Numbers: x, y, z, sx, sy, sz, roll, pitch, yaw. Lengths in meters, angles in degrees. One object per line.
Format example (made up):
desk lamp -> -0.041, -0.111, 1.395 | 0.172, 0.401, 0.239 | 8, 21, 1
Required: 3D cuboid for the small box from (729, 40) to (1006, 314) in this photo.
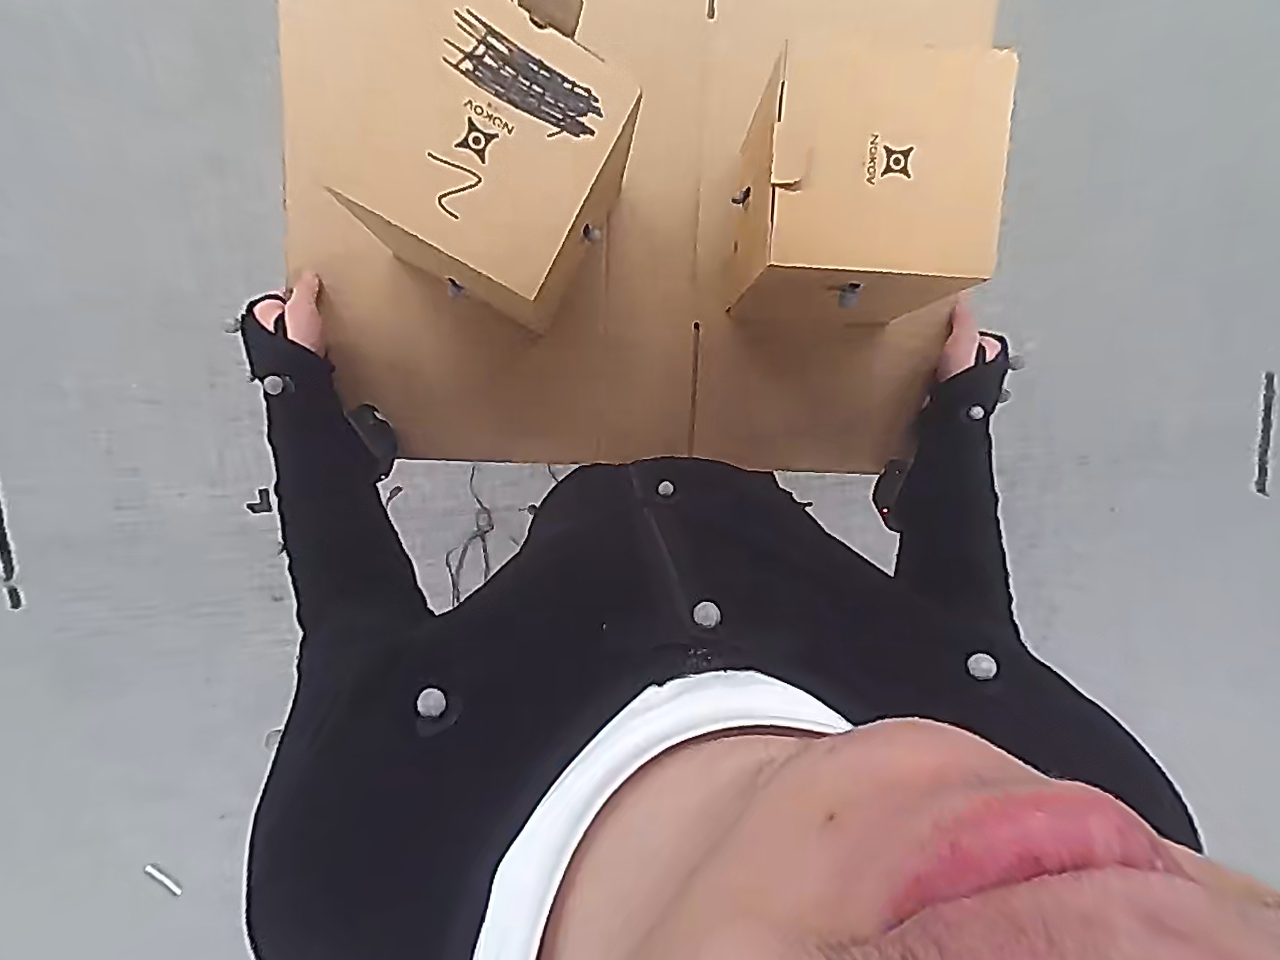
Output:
small box -> 0.189, -0.256, 0.500 | 0.179, 0.176, 0.168 | 3, 95, -1
